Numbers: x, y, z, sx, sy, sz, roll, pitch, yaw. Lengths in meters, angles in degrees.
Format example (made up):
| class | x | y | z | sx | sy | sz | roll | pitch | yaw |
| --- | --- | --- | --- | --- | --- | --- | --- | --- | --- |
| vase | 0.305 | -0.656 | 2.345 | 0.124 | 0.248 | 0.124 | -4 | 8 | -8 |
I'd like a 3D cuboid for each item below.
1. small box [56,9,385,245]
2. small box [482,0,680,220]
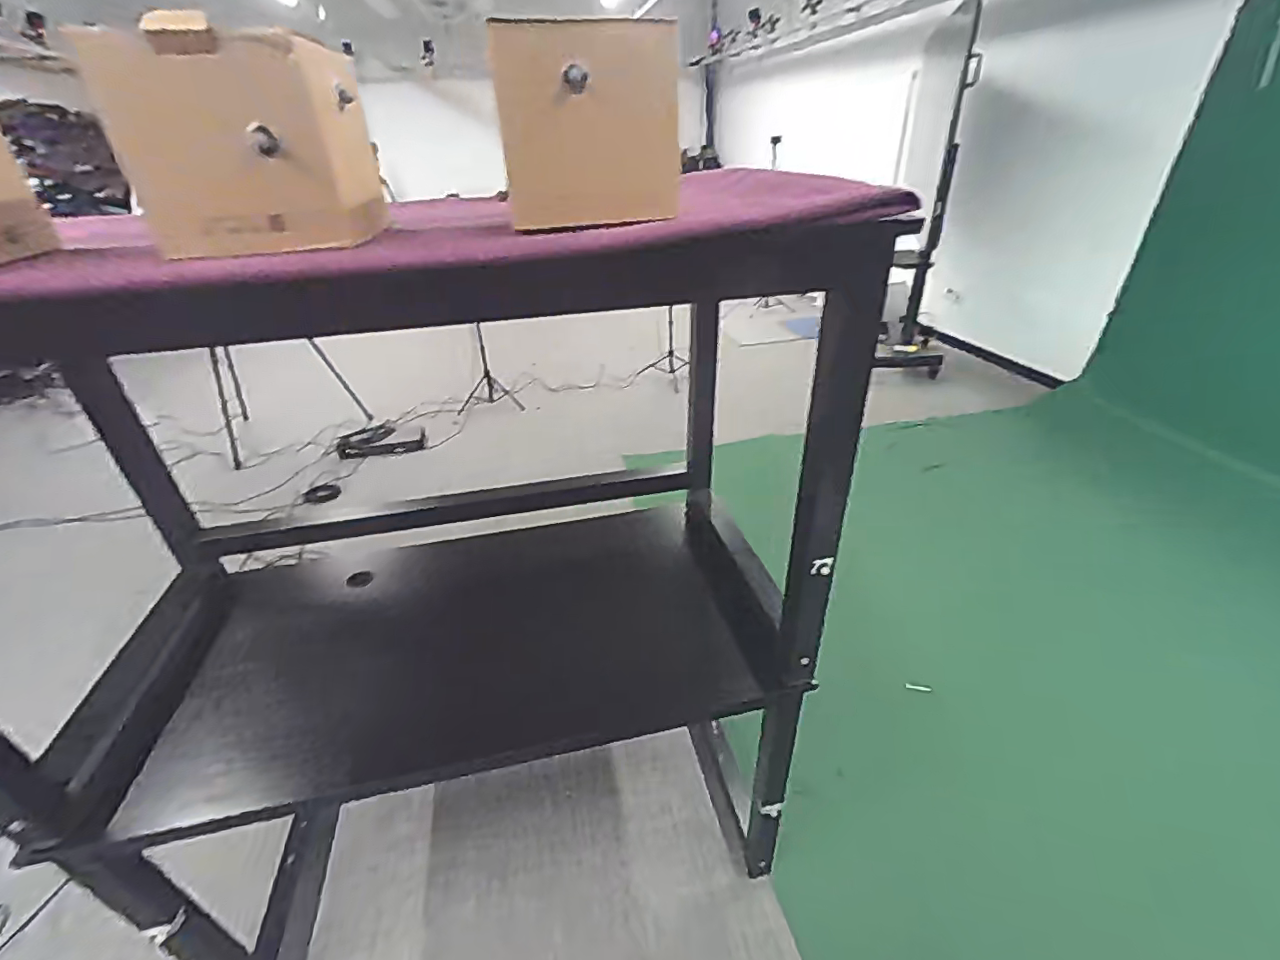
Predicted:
| class | x | y | z | sx | sy | sz | roll | pitch | yaw |
| --- | --- | --- | --- | --- | --- | --- | --- | --- | --- |
| small box | -0.364 | -0.326 | 0.520 | 0.168 | 0.176 | 0.179 | -6 | 31 | -8 |
| small box | -0.061 | -0.377 | 0.577 | 0.179 | 0.176 | 0.168 | -9 | 30 | -10 |
